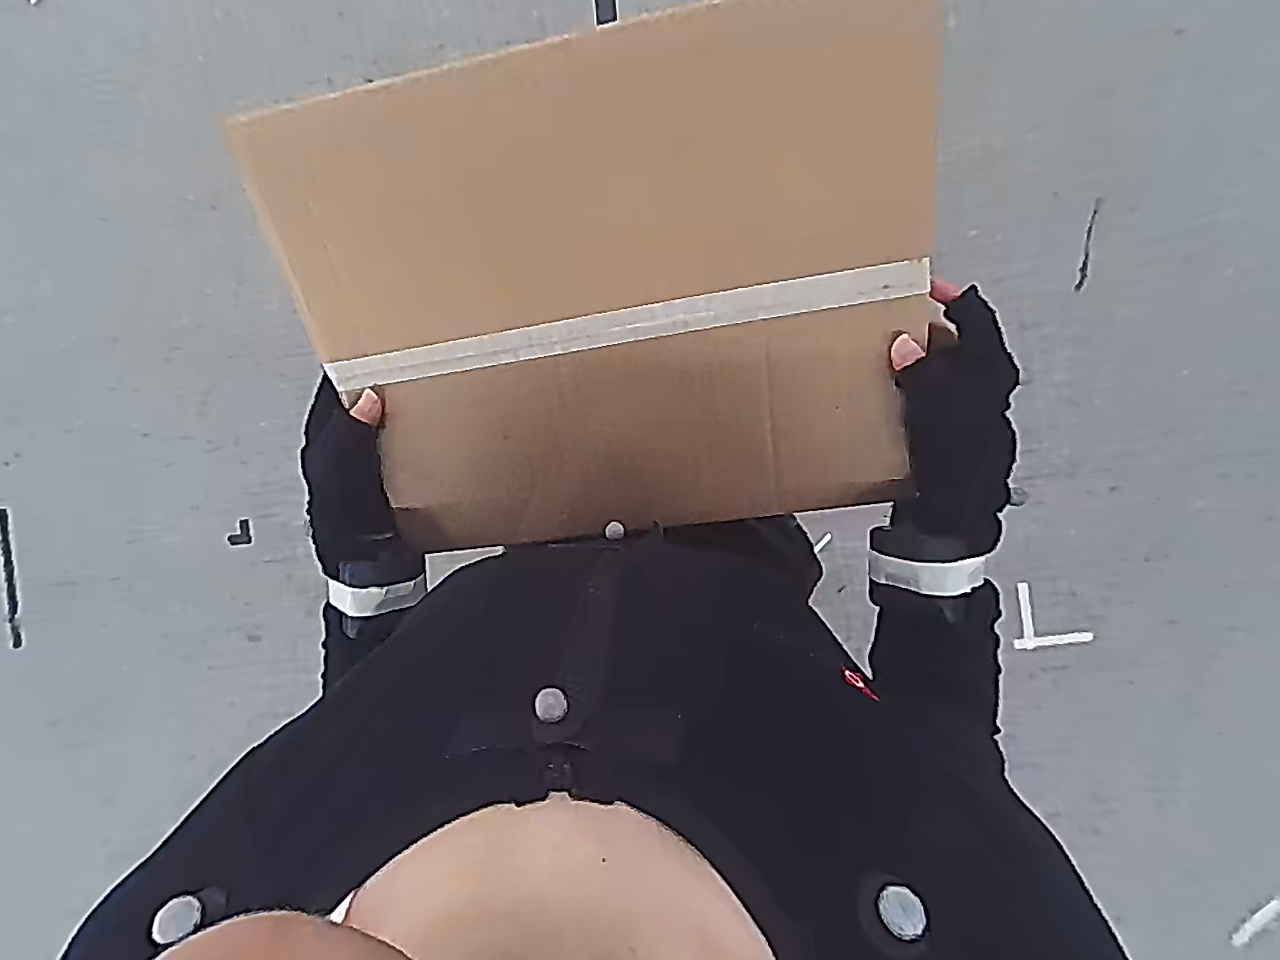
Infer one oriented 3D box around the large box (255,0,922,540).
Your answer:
[{"bbox_3d":[-0.012,-0.175,0.502,0.408,0.320,0.320,-7,117,8],"label":"large box"}]
